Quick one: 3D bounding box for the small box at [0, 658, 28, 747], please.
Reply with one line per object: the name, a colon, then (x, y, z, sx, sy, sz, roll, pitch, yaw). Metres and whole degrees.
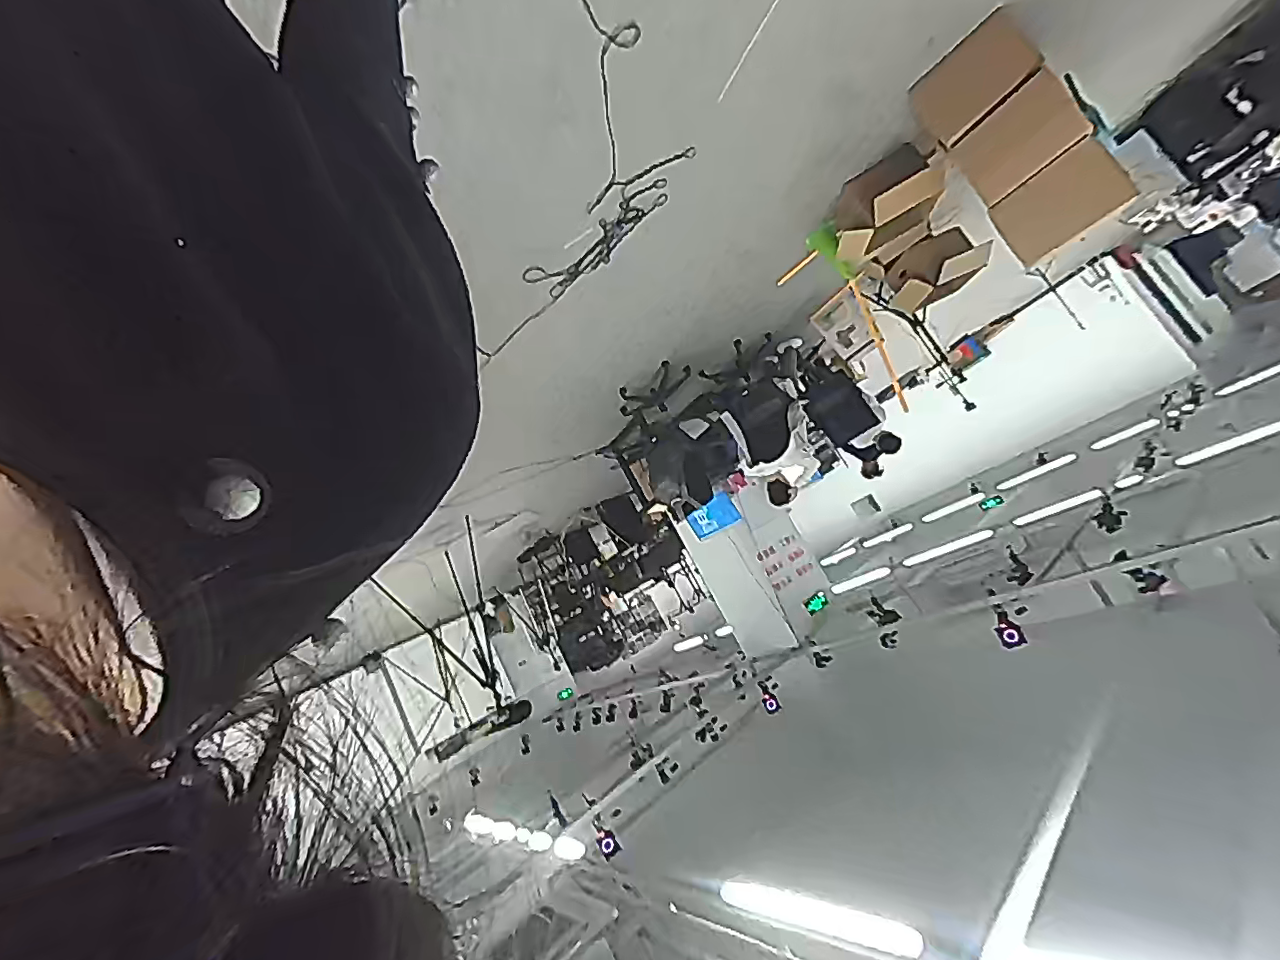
small box: (-1.273, 0.425, 0.979, 0.168, 0.176, 0.179, -21, 167, -40)

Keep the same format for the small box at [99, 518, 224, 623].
small box: (-1.112, 0.207, 1.267, 0.179, 0.176, 0.168, -19, 167, -39)

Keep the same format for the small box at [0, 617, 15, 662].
small box: (-1.361, 0.292, 1.022, 0.179, 0.176, 0.168, -20, 166, -37)
